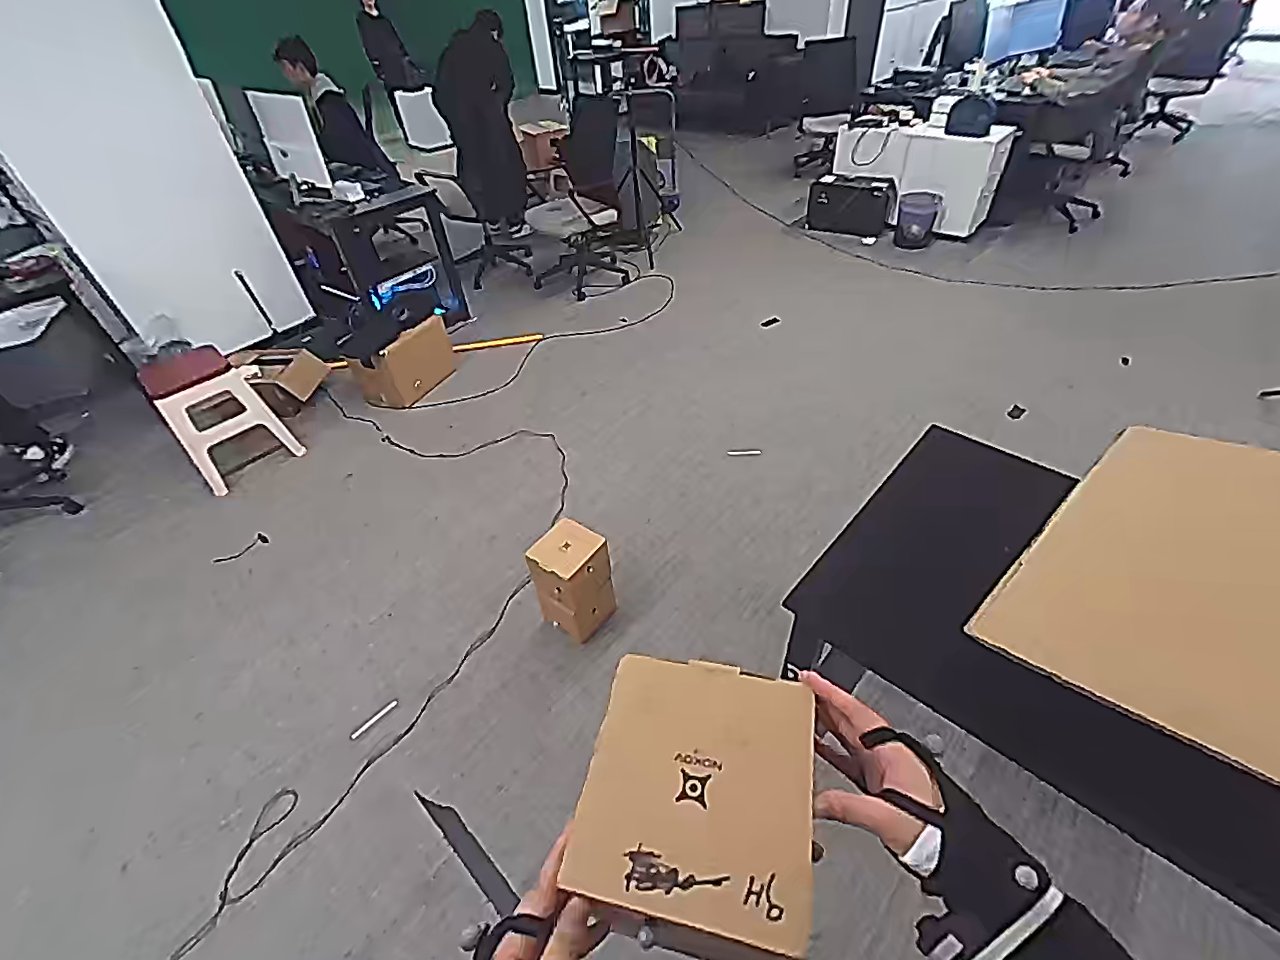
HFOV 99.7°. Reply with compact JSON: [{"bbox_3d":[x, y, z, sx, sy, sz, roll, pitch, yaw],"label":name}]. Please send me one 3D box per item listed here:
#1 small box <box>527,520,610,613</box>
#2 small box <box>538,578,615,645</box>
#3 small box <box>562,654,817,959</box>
[{"bbox_3d":[-0.202,0.258,1.600,0.168,0.176,0.179,25,50,27],"label":"small box"},{"bbox_3d":[-0.194,0.380,1.707,0.168,0.176,0.179,27,53,30],"label":"small box"},{"bbox_3d":[0.054,0.279,0.456,0.168,0.176,0.179,4,44,16],"label":"small box"}]
